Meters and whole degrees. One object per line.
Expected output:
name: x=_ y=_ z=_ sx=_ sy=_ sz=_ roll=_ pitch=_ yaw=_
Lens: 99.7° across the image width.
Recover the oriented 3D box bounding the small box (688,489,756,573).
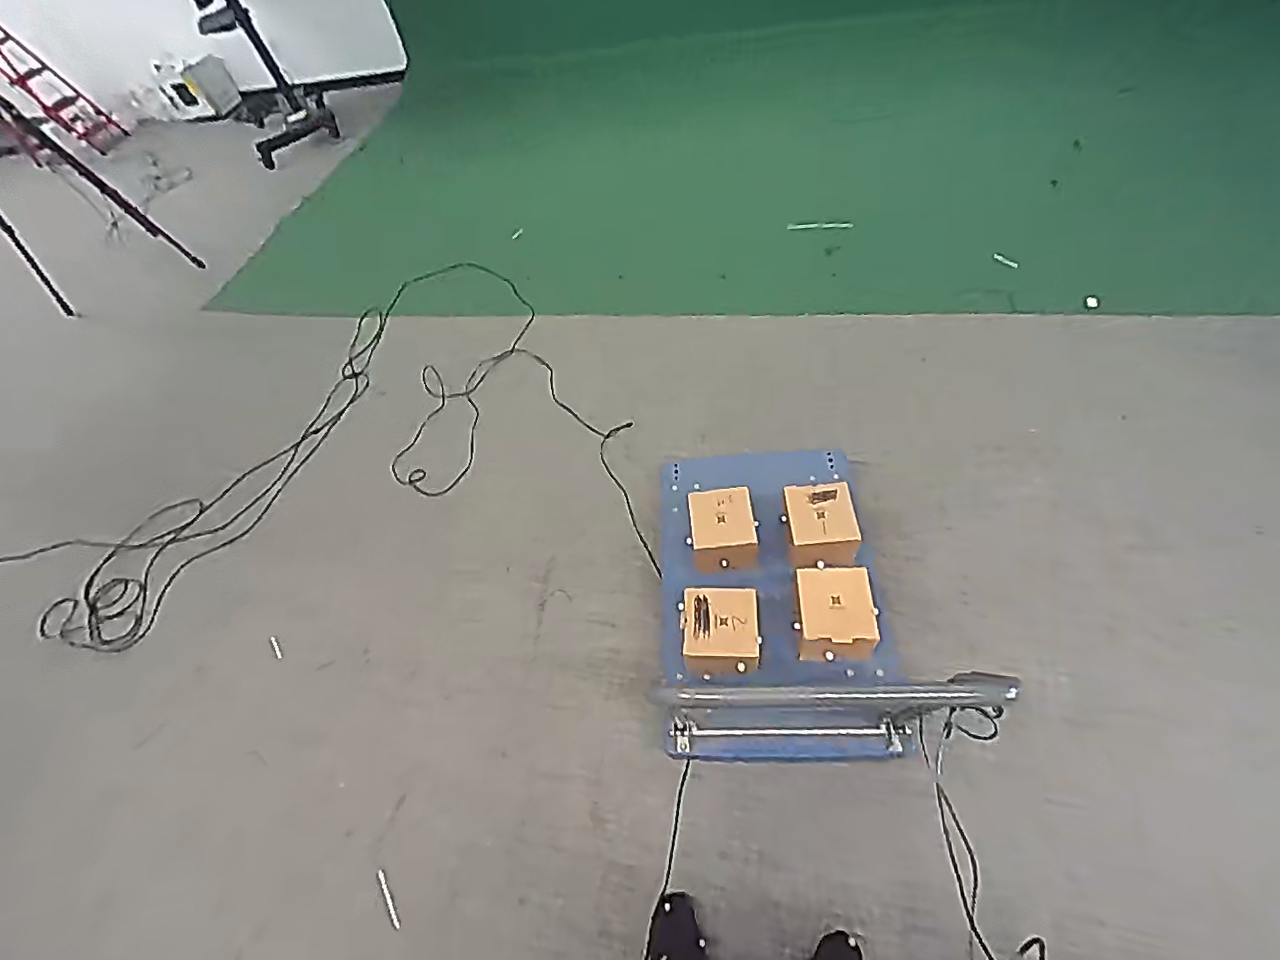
small box: x=0.226 y=0.148 z=1.495 sx=0.168 sy=0.176 sz=0.179 roll=-6 pitch=56 yaw=5

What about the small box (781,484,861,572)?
small box: x=0.479 y=0.132 z=1.458 sx=0.168 sy=0.176 sz=0.179 roll=-6 pitch=56 yaw=8

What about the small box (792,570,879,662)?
small box: x=0.469 y=0.335 z=1.326 sx=0.168 sy=0.176 sz=0.179 roll=-3 pitch=57 yaw=9
